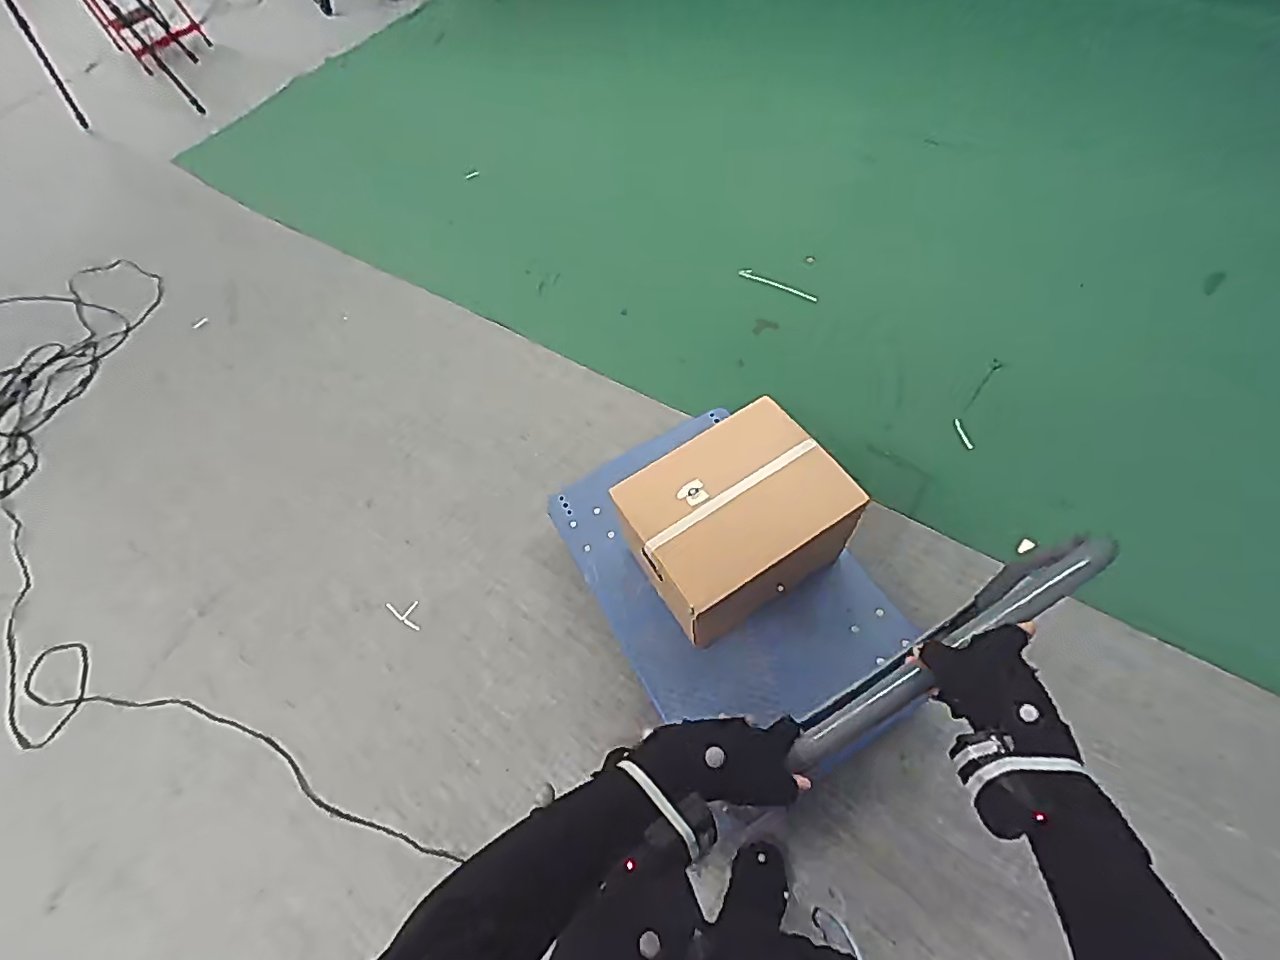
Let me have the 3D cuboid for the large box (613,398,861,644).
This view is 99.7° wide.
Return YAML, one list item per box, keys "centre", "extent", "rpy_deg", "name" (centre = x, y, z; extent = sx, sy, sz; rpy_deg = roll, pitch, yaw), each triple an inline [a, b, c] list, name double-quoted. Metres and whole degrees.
- centre: [0.206, 0.101, 1.207]
  extent: [0.408, 0.320, 0.320]
  rpy_deg: [-33, 62, -9]
  name: "large box"
